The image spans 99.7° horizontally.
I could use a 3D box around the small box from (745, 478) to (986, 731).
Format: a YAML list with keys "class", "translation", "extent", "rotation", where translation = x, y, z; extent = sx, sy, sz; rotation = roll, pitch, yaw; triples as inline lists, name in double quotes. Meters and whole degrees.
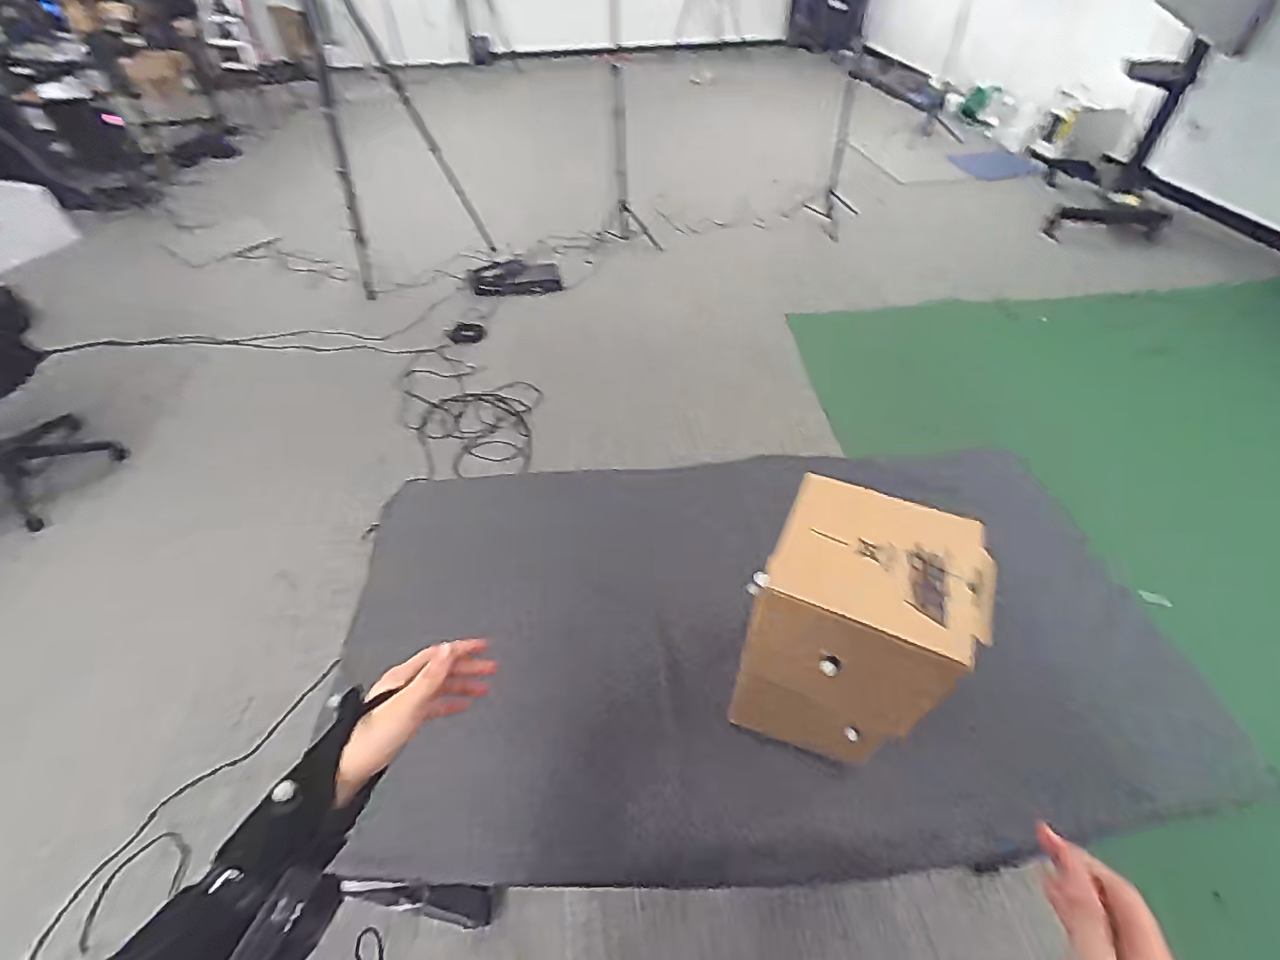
- class: "small box"
  translation: [0.225, 0.132, 0.565]
  extent: [0.179, 0.176, 0.168]
  rotation: [20, 49, 20]
